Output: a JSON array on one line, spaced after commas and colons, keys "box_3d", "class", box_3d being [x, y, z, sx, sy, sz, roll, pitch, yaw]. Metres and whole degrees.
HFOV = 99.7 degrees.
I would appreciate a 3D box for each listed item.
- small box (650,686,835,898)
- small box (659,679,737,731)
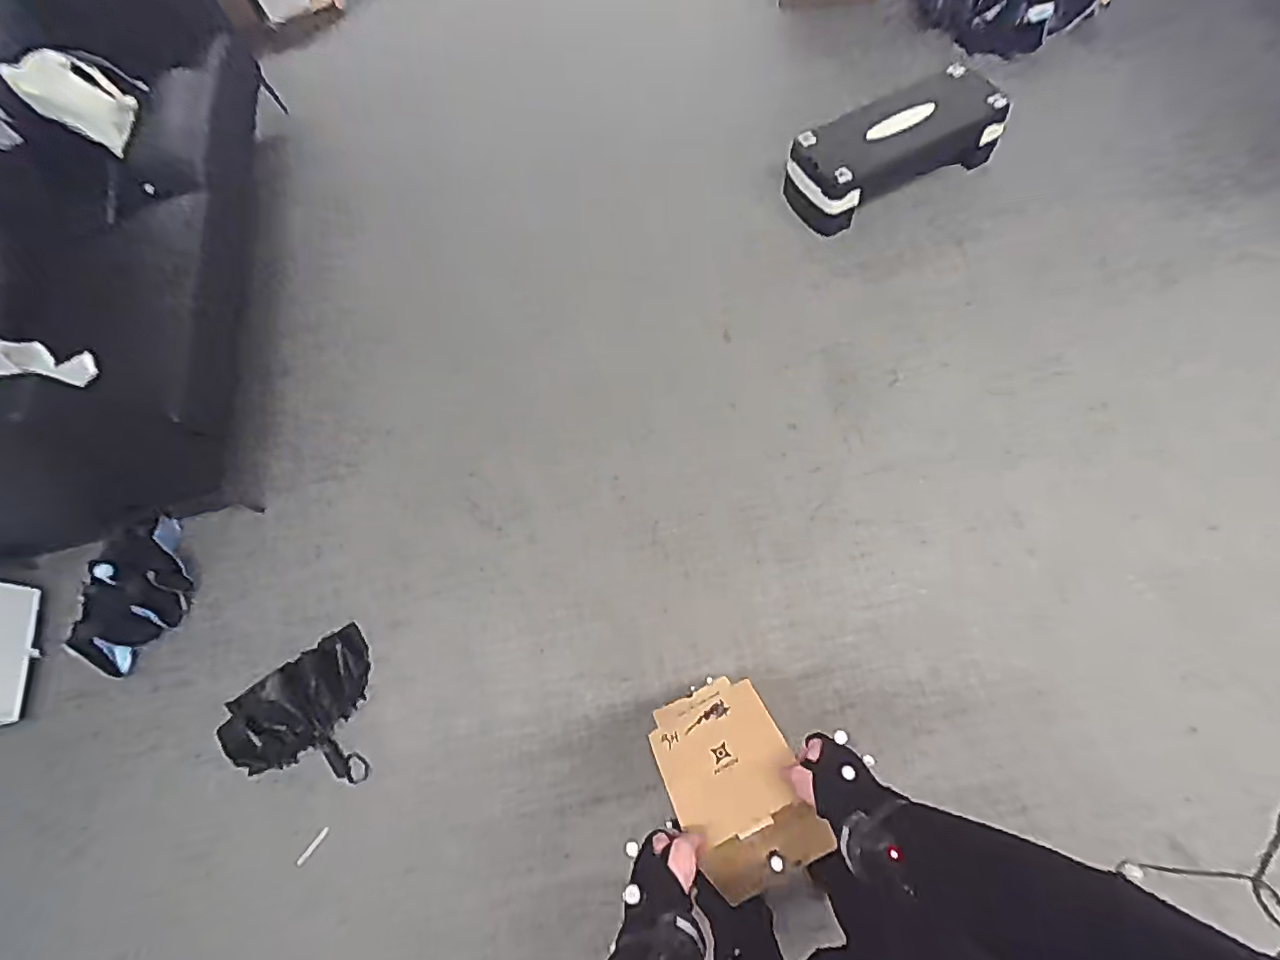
[{"box_3d": [0.139, 0.428, 0.735, 0.168, 0.176, 0.179, -29, 33, -2], "class": "small box"}, {"box_3d": [0.152, 0.526, 1.100, 0.168, 0.176, 0.179, -26, 67, -2], "class": "small box"}]
